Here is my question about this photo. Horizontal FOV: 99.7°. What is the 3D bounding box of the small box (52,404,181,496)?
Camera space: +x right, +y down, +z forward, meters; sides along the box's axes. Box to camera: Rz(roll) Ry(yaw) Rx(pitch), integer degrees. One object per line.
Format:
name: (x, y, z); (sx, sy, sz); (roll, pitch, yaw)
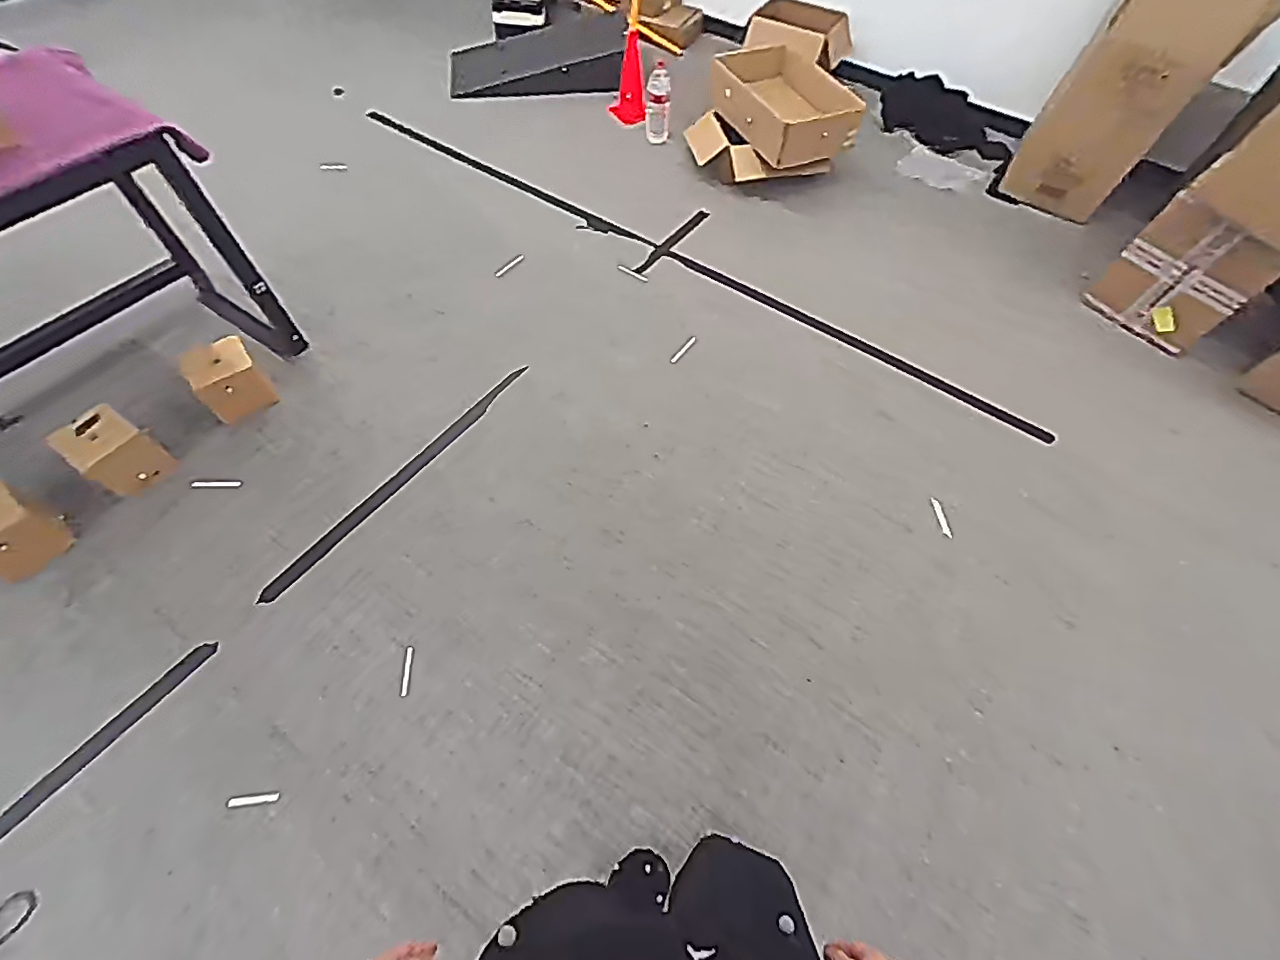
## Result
small box: (-1.507, -0.081, 1.568); (0.179, 0.176, 0.168); (32, 64, 14)

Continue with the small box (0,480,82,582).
small box: (-1.669, 0.140, 1.433); (0.168, 0.176, 0.179); (35, 64, 16)

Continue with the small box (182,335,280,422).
small box: (-1.287, -0.319, 1.718); (0.179, 0.176, 0.168); (-33, 67, -18)
